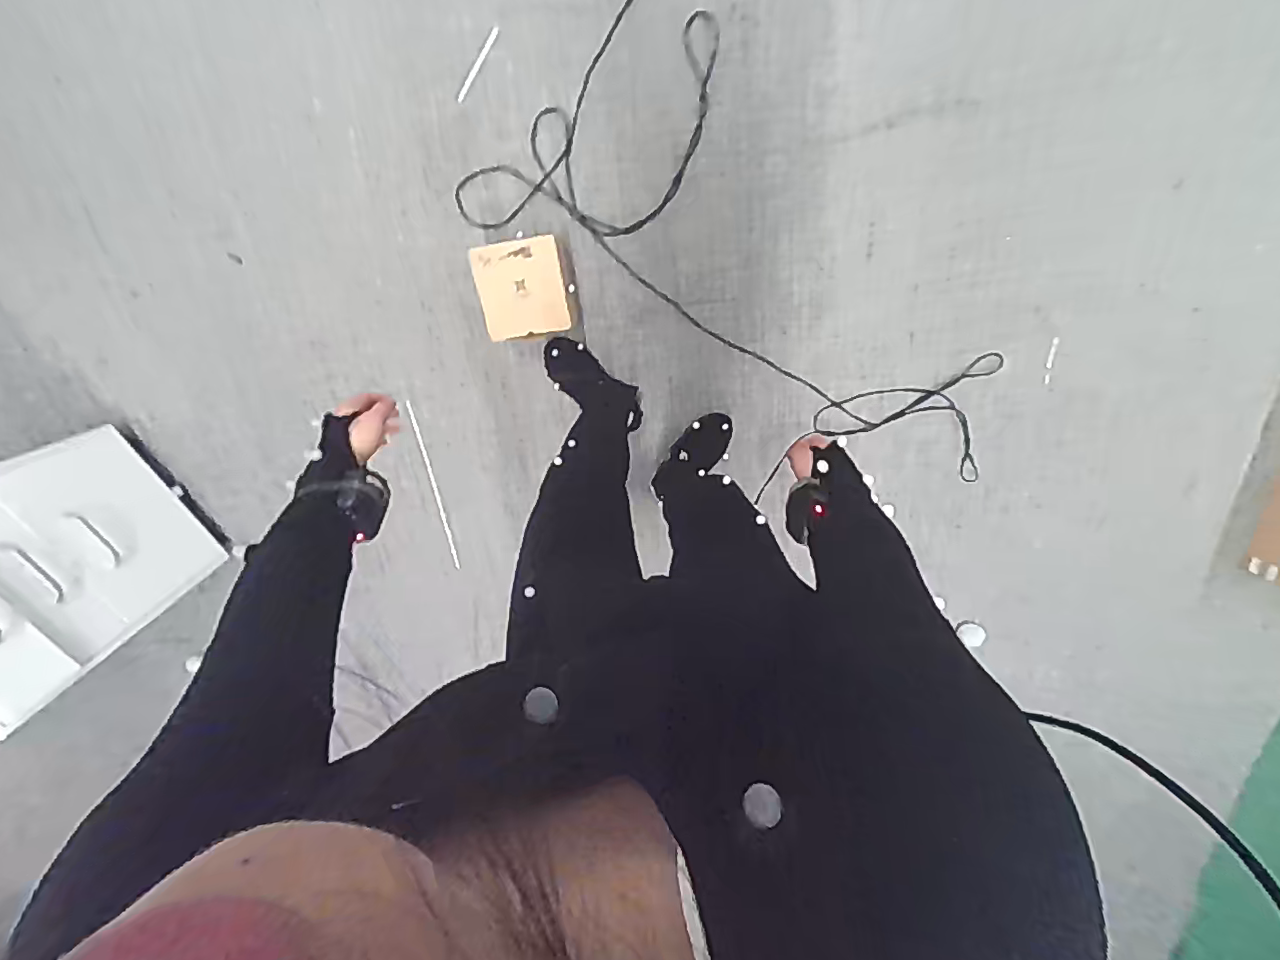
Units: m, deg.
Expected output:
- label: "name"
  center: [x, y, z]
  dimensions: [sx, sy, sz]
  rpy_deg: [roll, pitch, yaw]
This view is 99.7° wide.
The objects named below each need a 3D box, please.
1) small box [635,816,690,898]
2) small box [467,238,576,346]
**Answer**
- label: "small box"
  center: [0.076, 1.299, 1.869]
  dimensions: [0.179, 0.176, 0.168]
  rpy_deg: [-6, 114, 1]
- label: "small box"
  center: [-0.232, -0.390, 1.111]
  dimensions: [0.168, 0.176, 0.179]
  rpy_deg: [-9, 115, 2]
